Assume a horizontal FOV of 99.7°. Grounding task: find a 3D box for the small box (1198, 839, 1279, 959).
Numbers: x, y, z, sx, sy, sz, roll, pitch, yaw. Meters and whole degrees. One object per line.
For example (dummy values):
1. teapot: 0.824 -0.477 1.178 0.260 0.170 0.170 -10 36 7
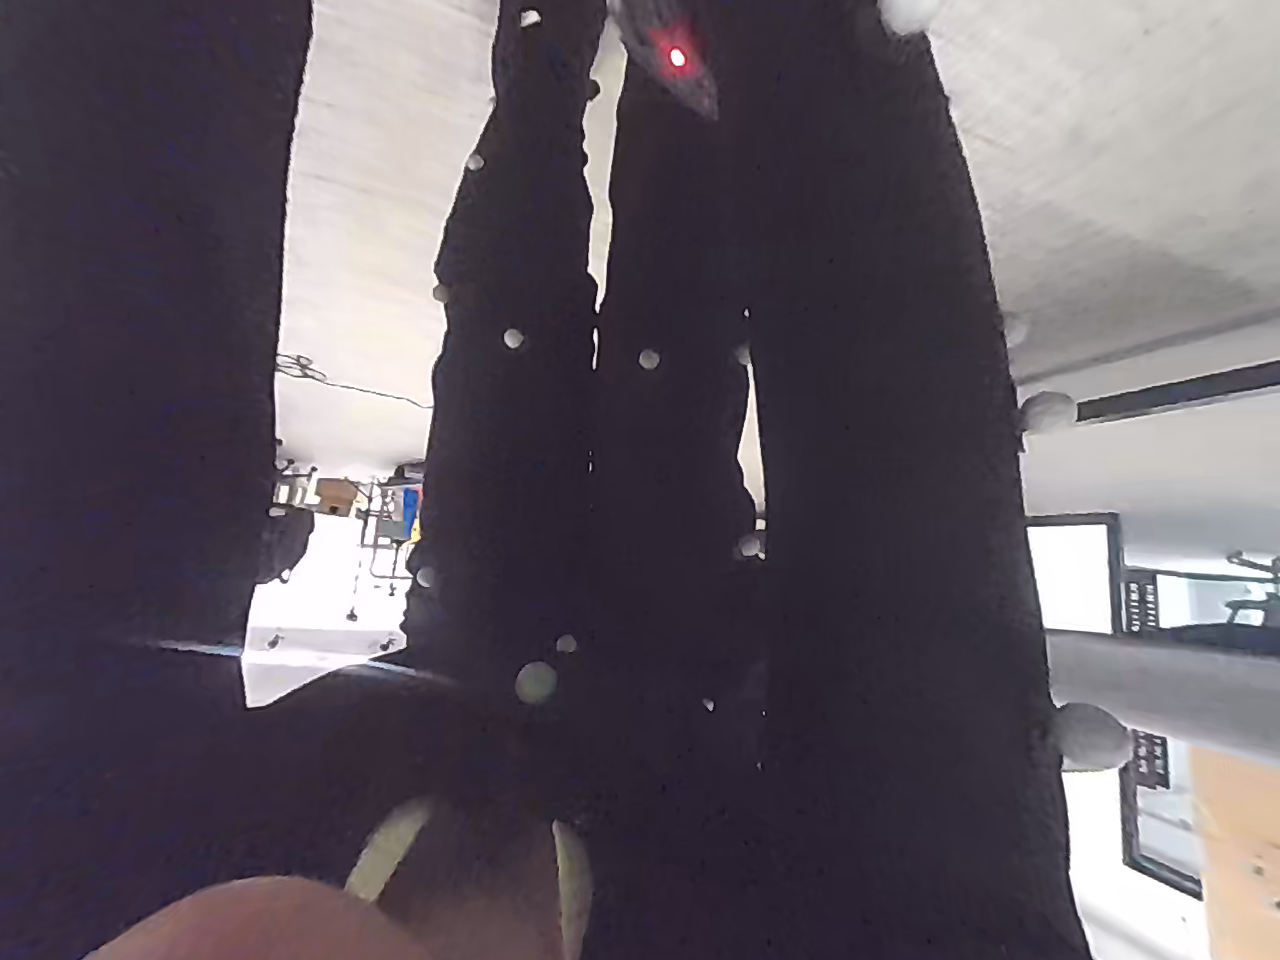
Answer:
1. small box: 0.917 0.601 0.738 0.179 0.176 0.168 8 170 -22
